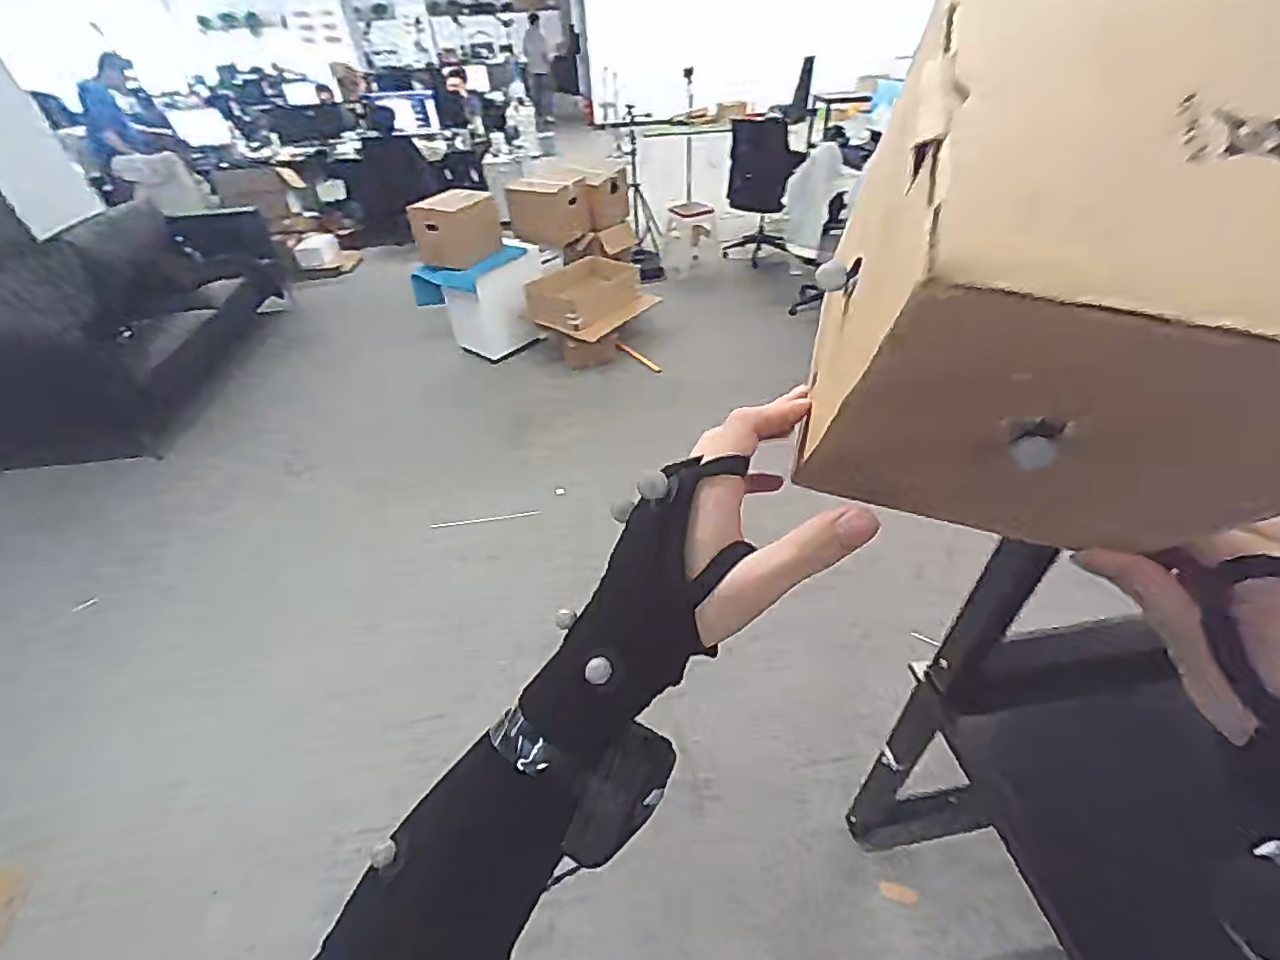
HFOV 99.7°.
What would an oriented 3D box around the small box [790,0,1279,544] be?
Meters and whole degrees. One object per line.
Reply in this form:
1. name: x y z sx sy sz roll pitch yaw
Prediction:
1. small box: 0.181 -0.081 0.258 0.179 0.176 0.168 13 68 8
